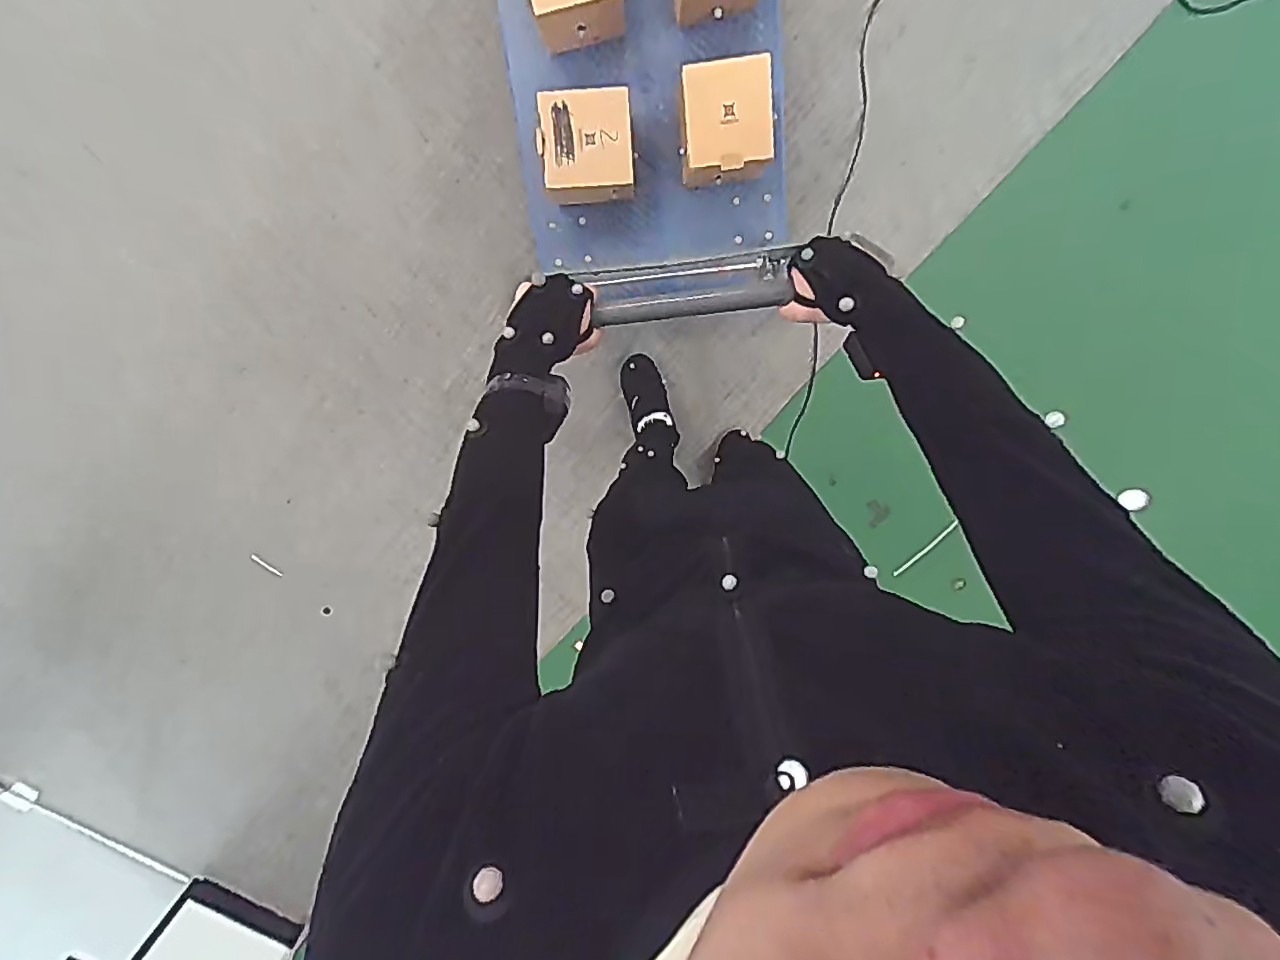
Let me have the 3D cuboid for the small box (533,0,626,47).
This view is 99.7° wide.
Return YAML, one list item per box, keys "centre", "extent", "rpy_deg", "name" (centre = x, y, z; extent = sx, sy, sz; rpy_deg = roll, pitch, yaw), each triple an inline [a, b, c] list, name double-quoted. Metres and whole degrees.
- centre: [-0.123, -0.958, 1.017]
  extent: [0.168, 0.176, 0.179]
  rpy_deg: [-11, 108, 3]
  name: "small box"

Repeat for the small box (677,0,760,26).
- centre: [0.145, -0.999, 1.002]
  extent: [0.168, 0.176, 0.179]
  rpy_deg: [-11, 109, 4]
  name: "small box"

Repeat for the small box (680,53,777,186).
- centre: [0.173, -0.719, 1.096]
  extent: [0.168, 0.176, 0.179]
  rpy_deg: [-6, 109, 2]
  name: "small box"
